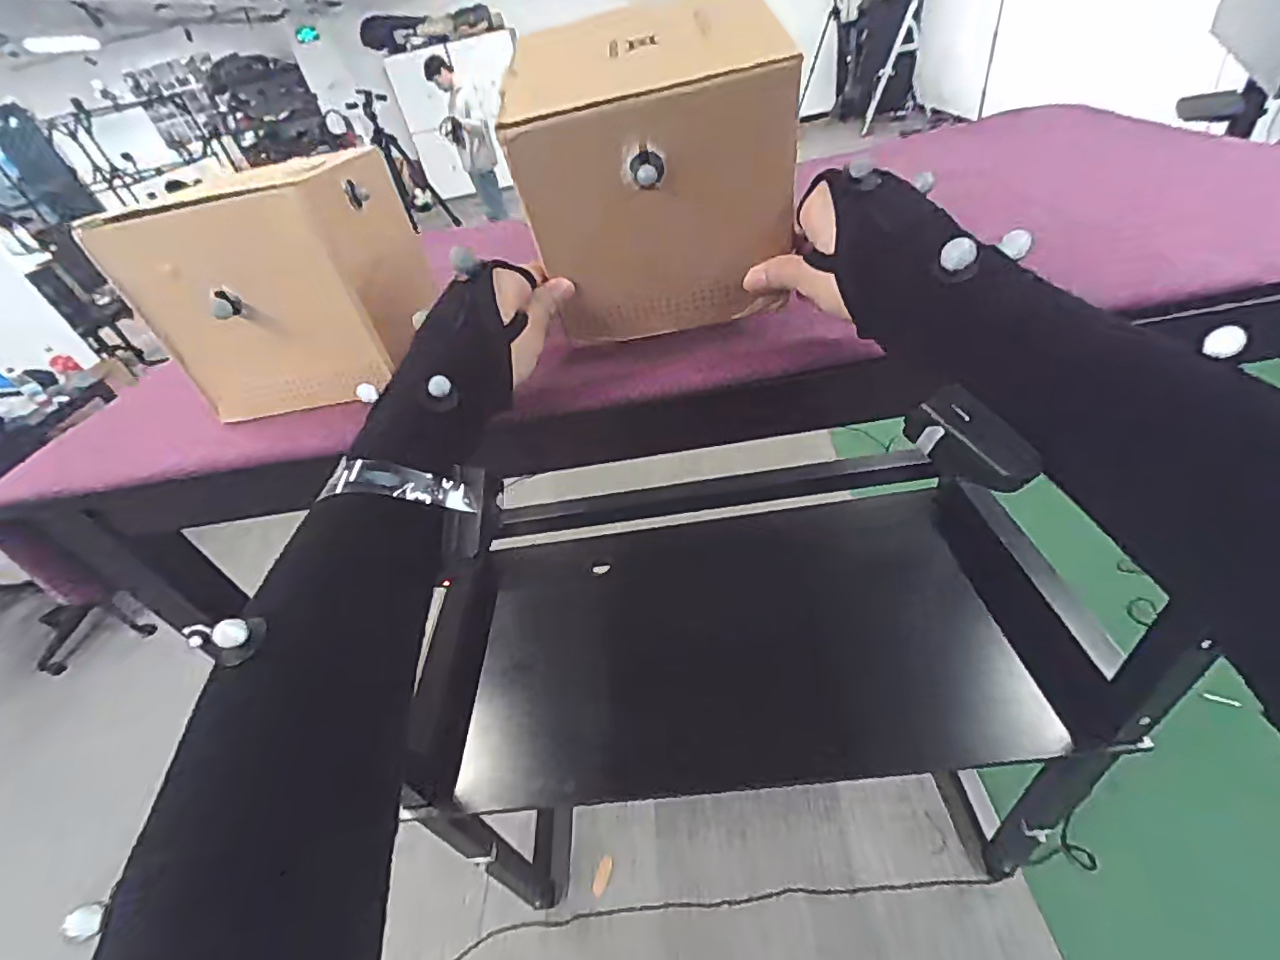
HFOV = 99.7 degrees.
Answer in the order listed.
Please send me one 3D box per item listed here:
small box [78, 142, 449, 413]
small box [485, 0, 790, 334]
[{"bbox_3d":[-0.302,-0.178,0.484,0.179,0.176,0.168,-10,39,5],"label":"small box"},{"bbox_3d":[0.009,-0.231,0.406,0.179,0.176,0.168,-8,53,7],"label":"small box"}]
